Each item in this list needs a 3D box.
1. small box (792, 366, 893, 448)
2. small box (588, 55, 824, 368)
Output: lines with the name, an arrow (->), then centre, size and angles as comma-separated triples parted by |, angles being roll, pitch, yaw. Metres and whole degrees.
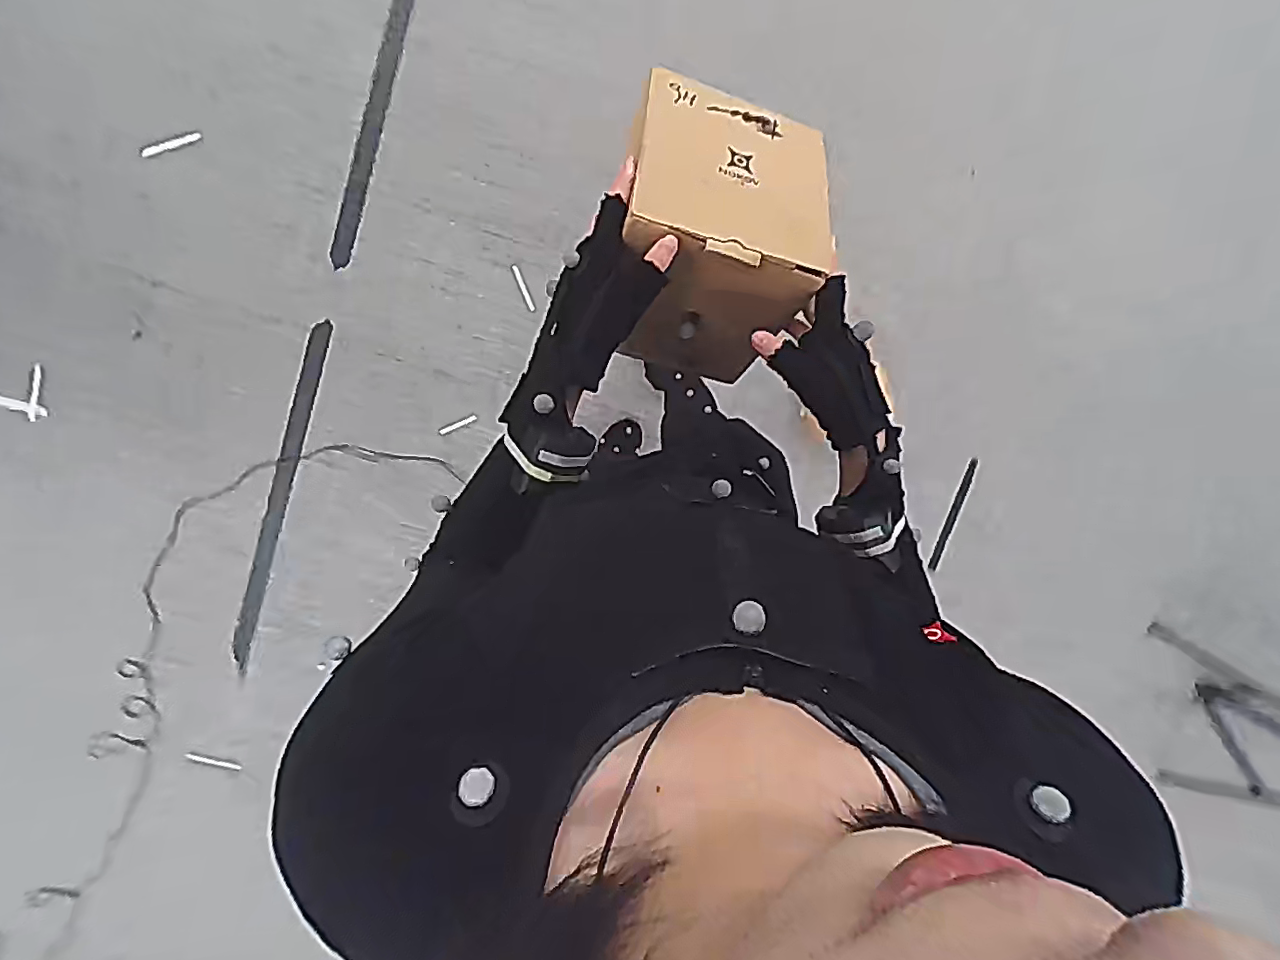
small box -> 0.537, -0.199, 1.450 | 0.179, 0.176, 0.168 | -21, 101, 0
small box -> 0.052, -0.230, 0.505 | 0.168, 0.176, 0.179 | 11, 67, -13
